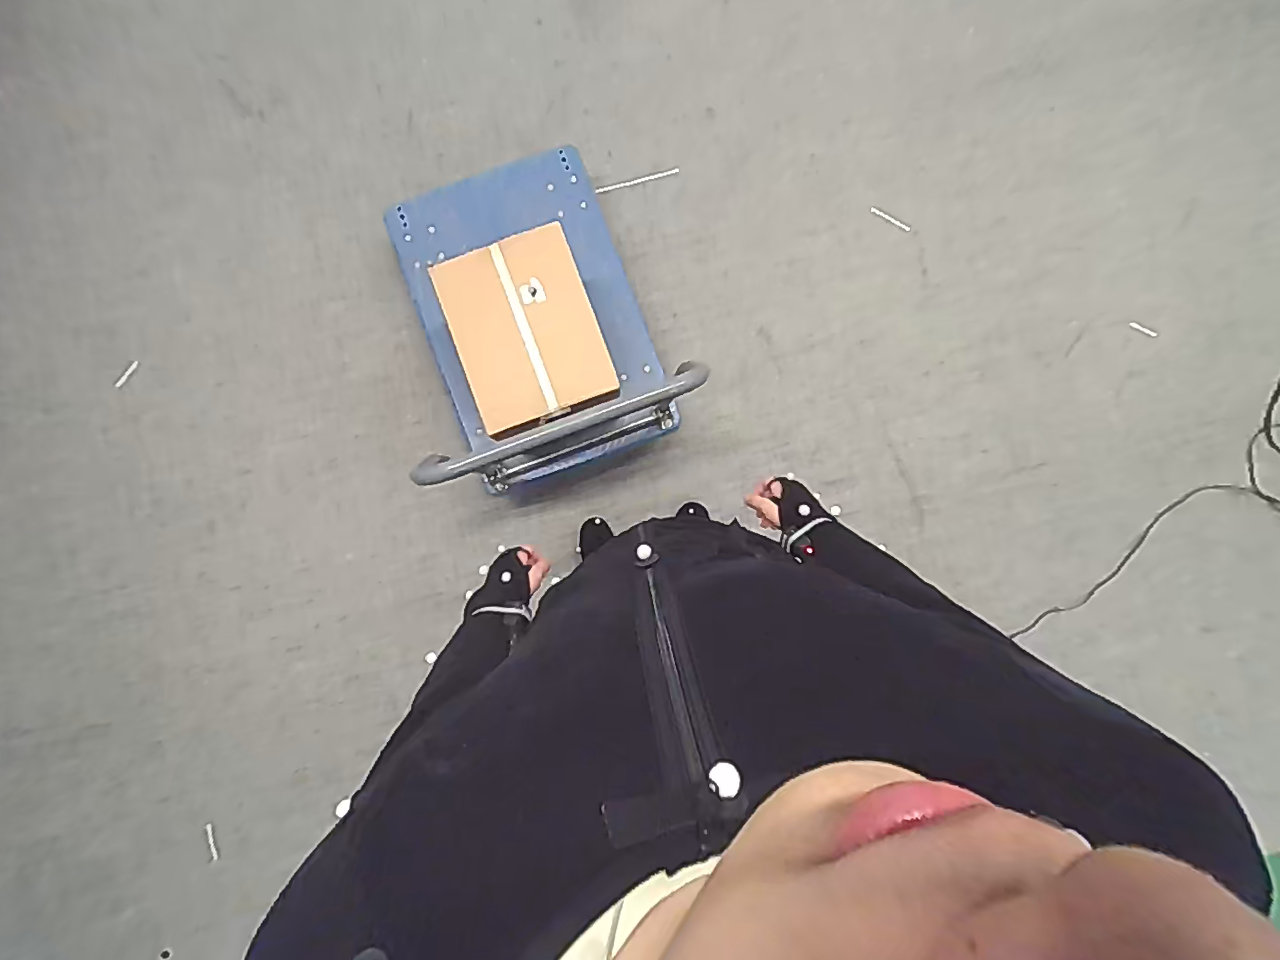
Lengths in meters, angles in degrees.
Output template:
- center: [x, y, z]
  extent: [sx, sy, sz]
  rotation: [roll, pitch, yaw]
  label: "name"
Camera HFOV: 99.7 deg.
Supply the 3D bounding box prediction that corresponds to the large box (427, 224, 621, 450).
- center: [-0.261, -0.326, 1.337]
  extent: [0.320, 0.320, 0.408]
  rotation: [-21, 87, -3]
  label: "large box"
